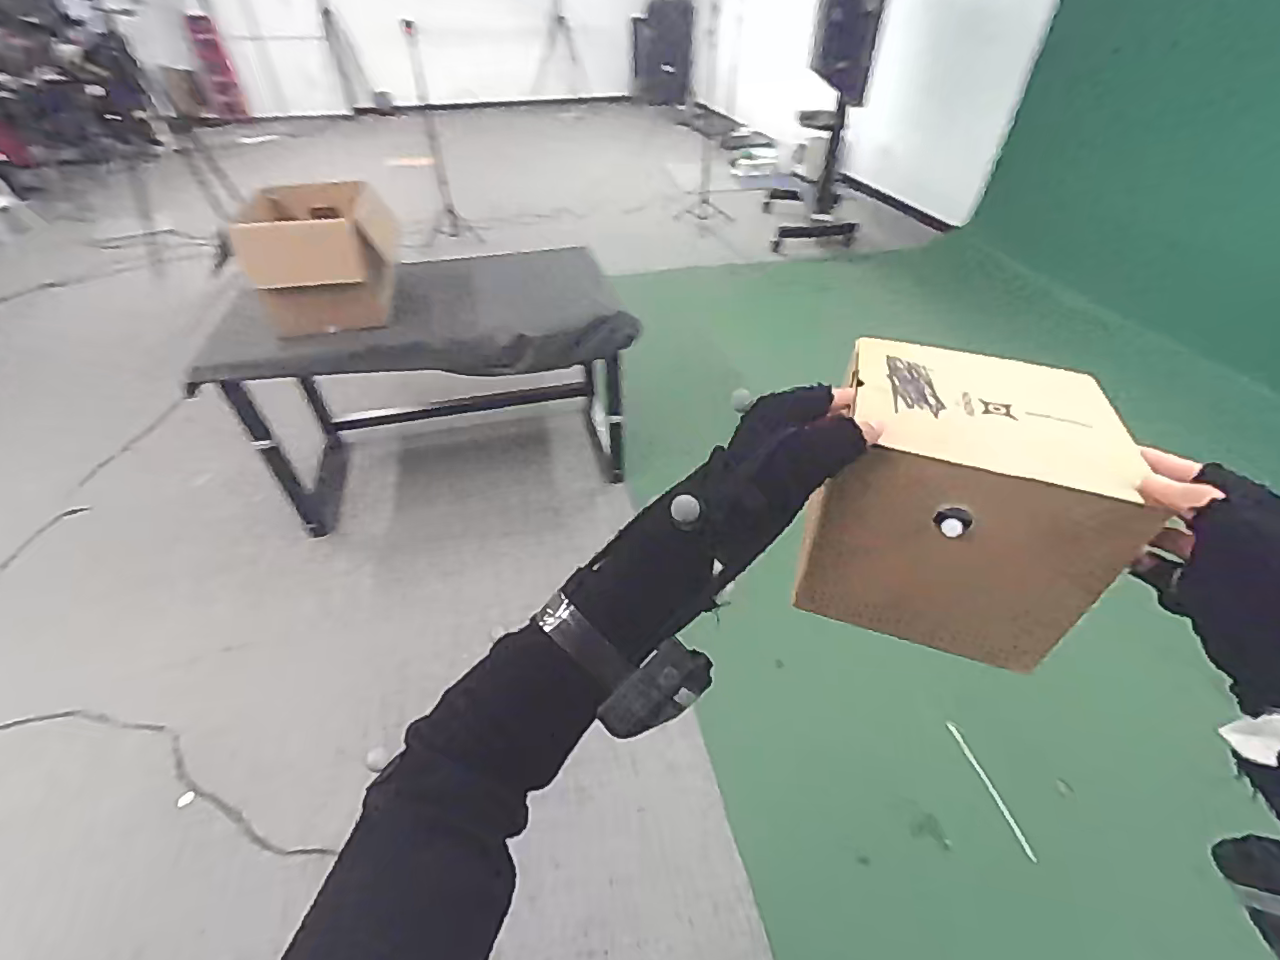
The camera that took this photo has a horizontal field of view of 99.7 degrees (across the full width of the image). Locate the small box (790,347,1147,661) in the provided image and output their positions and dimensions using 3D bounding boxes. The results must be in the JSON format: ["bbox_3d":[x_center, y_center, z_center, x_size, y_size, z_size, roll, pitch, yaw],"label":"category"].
[{"bbox_3d":[0.228,0.016,0.434,0.179,0.176,0.168,15,40,12],"label":"small box"}]
